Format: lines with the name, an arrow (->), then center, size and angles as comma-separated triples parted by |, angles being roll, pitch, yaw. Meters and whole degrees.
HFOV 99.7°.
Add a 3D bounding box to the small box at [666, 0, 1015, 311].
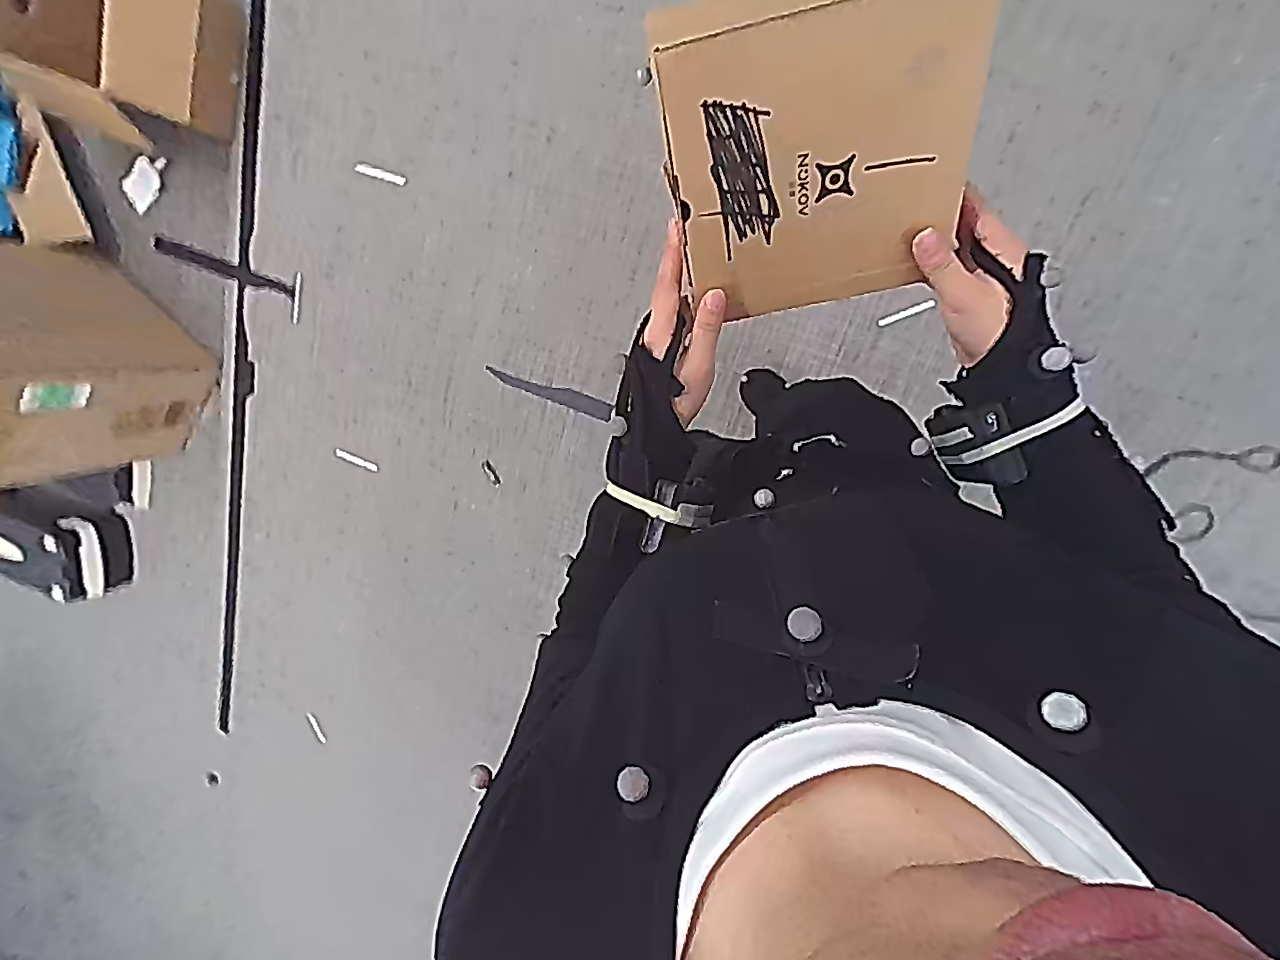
small box -> 0.114, -0.246, 0.380 | 0.179, 0.176, 0.168 | -9, 136, 7
